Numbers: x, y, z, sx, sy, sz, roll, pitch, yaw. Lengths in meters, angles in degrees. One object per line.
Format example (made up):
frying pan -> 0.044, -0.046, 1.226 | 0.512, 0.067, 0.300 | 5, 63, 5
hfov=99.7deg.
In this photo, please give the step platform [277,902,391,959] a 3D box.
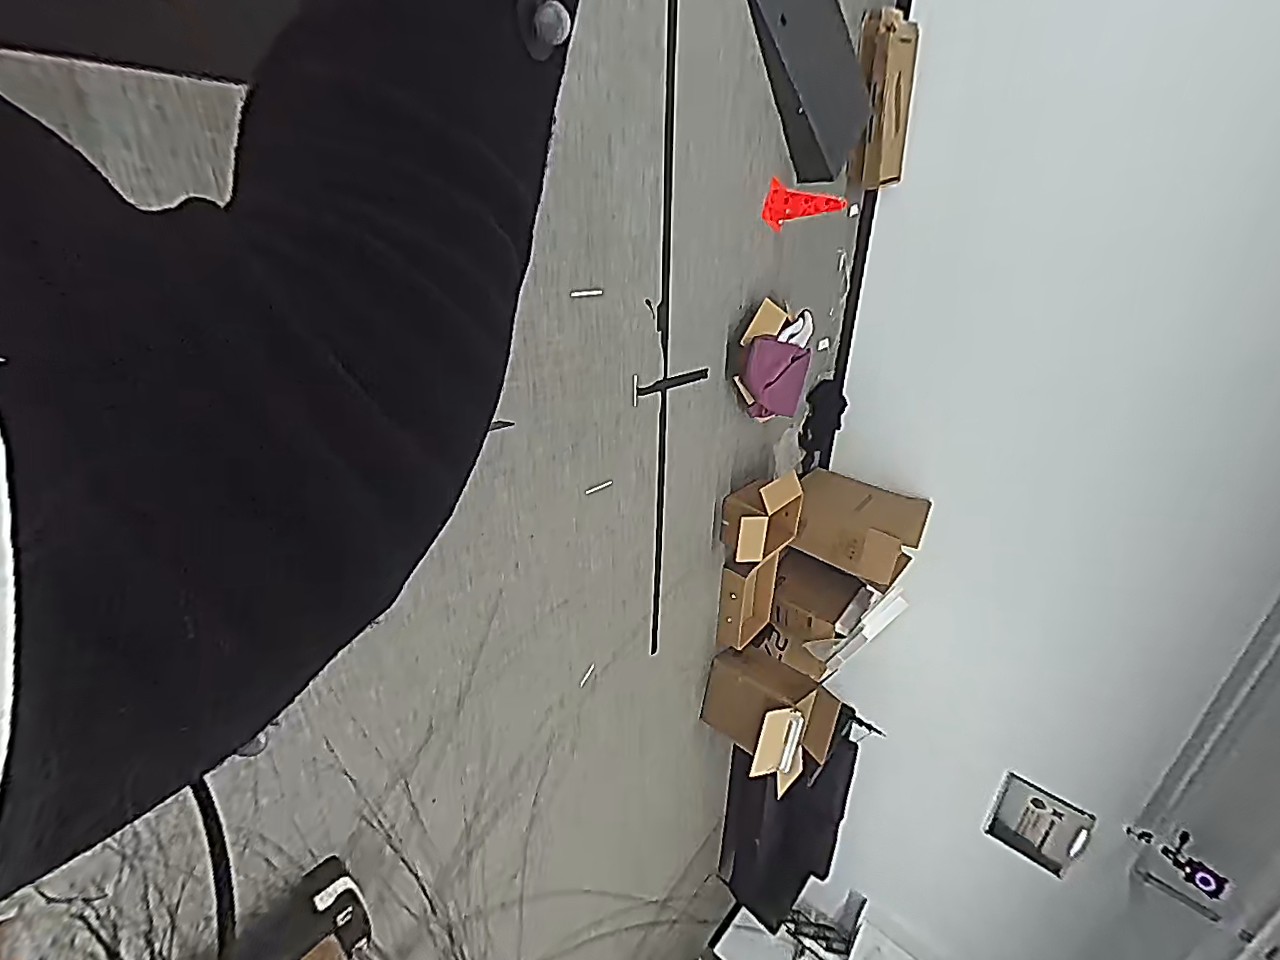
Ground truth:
step platform -> -1.071, 1.582, 1.517 | 0.684, 0.204, 0.286 | -26, 127, -41
